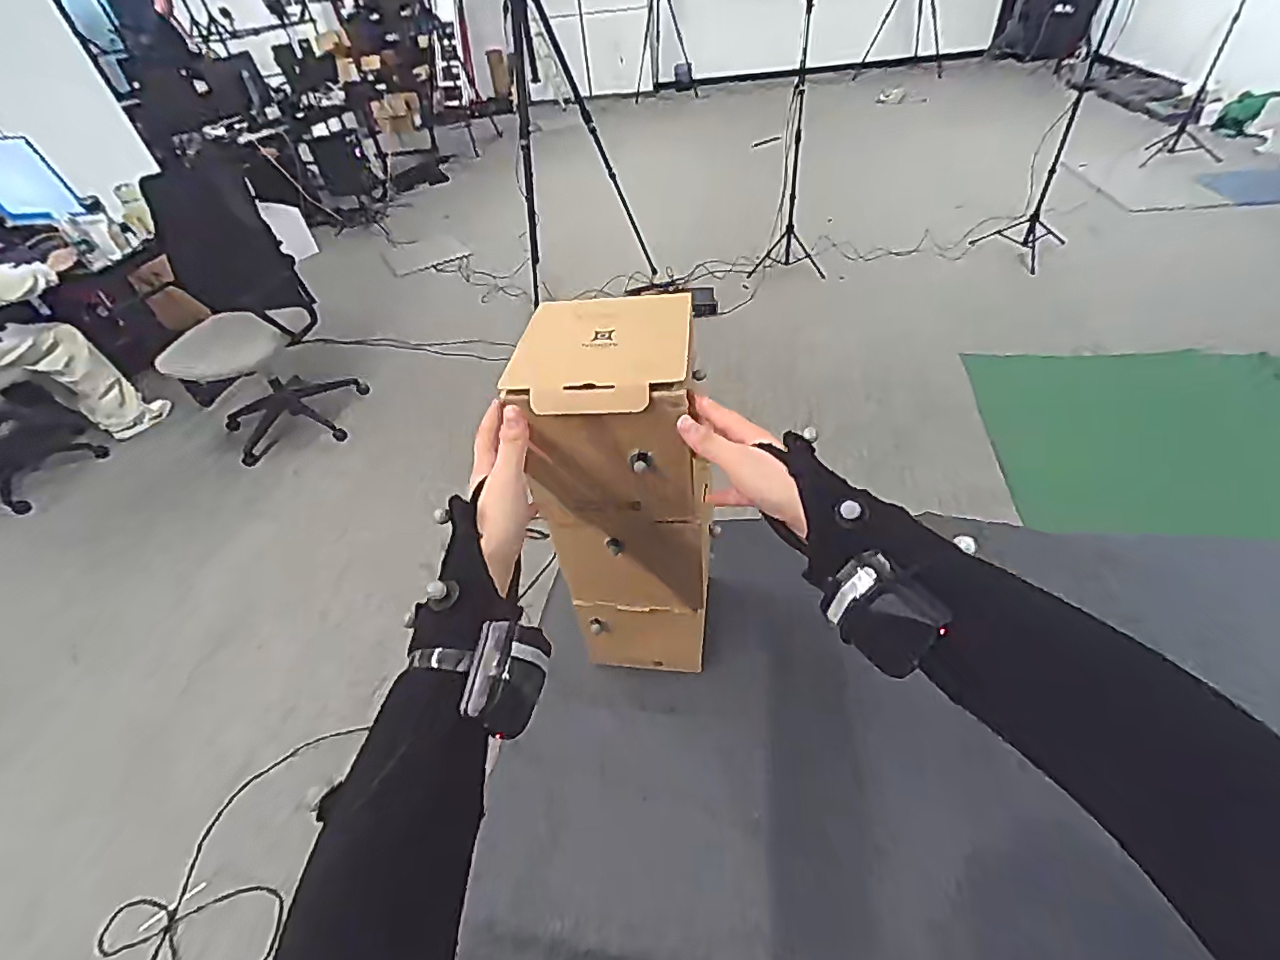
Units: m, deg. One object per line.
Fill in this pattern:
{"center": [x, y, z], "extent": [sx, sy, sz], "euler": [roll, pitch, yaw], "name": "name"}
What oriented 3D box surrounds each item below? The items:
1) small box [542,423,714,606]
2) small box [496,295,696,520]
{"center": [-0.001, 0.043, 0.682], "extent": [0.179, 0.176, 0.168], "euler": [2, 47, 11], "name": "small box"}
{"center": [-0.028, -0.071, 0.568], "extent": [0.168, 0.176, 0.179], "euler": [-1, 45, 8], "name": "small box"}
